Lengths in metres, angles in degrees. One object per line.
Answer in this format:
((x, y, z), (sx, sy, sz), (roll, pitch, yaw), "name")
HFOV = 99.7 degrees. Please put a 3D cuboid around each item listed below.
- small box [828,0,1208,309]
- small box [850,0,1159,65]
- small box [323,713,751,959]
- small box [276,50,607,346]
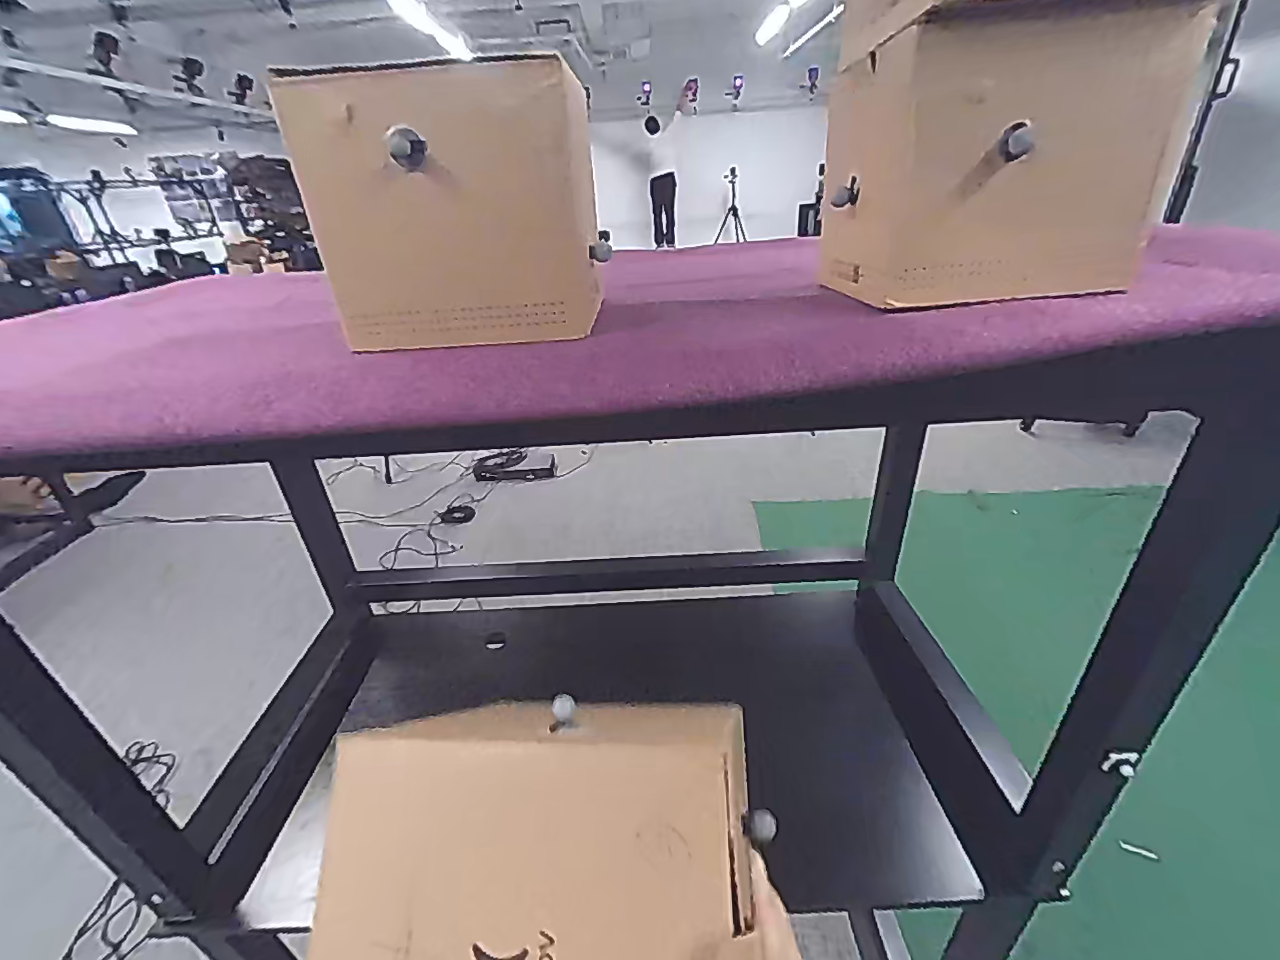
((0.255, -0.234, 0.420), (0.179, 0.176, 0.168), (-4, 27, 3), "small box")
((0.242, -0.373, 0.335), (0.179, 0.176, 0.168), (-4, 26, 2), "small box")
((-0.032, 0.219, 0.286), (0.179, 0.176, 0.168), (-4, 70, 11), "small box")
((-0.124, -0.207, 0.422), (0.179, 0.176, 0.168), (-2, 29, 2), "small box")
